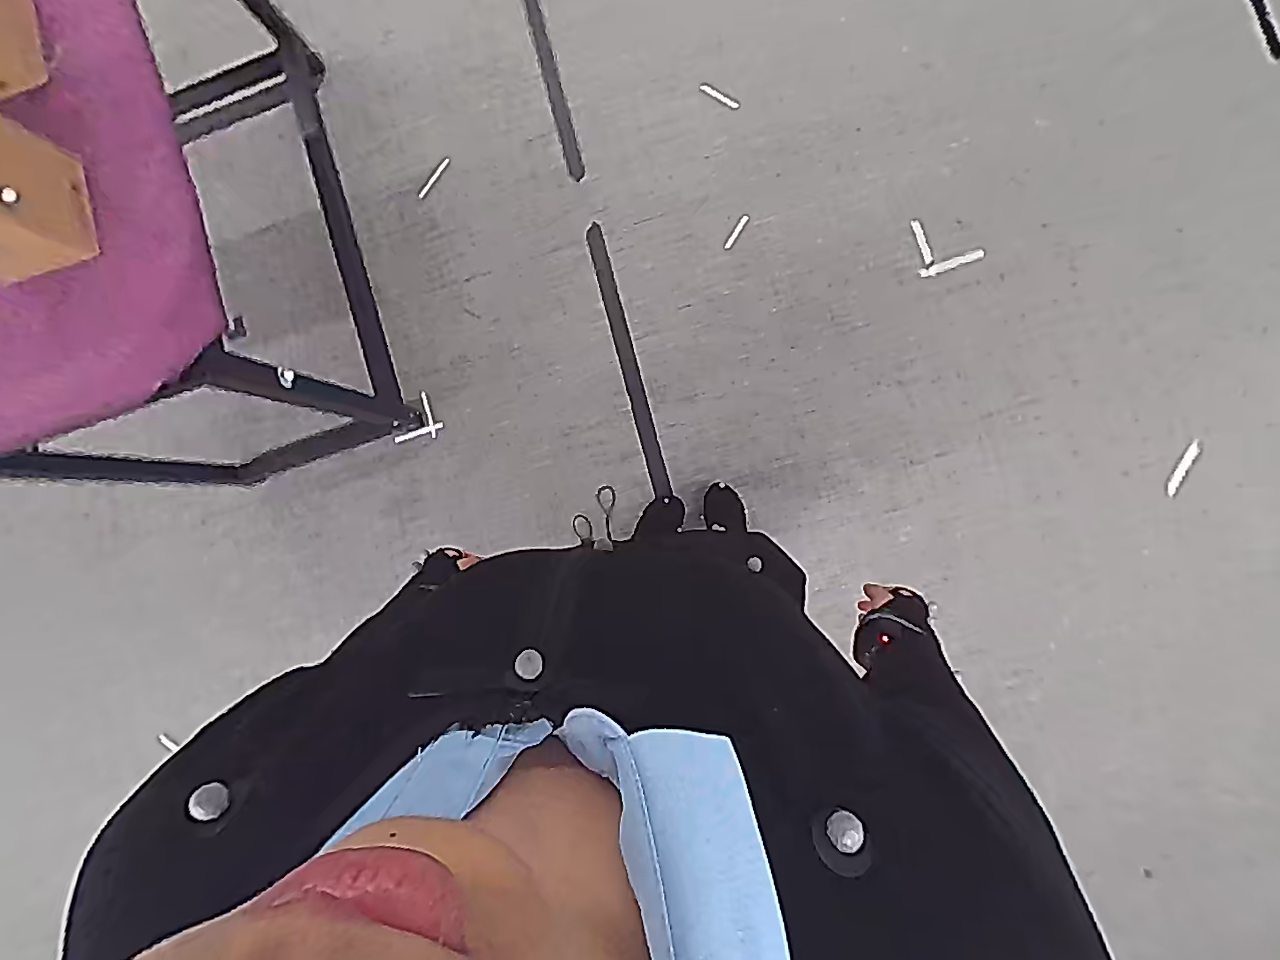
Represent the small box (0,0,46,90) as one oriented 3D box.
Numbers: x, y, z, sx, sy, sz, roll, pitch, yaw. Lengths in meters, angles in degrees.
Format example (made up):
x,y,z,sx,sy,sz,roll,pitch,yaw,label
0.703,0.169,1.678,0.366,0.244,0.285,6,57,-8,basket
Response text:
x,y,z,sx,sy,sz,roll,pitch,yaw,label
-1.065,-0.722,0.814,0.168,0.176,0.179,-14,87,4,small box
